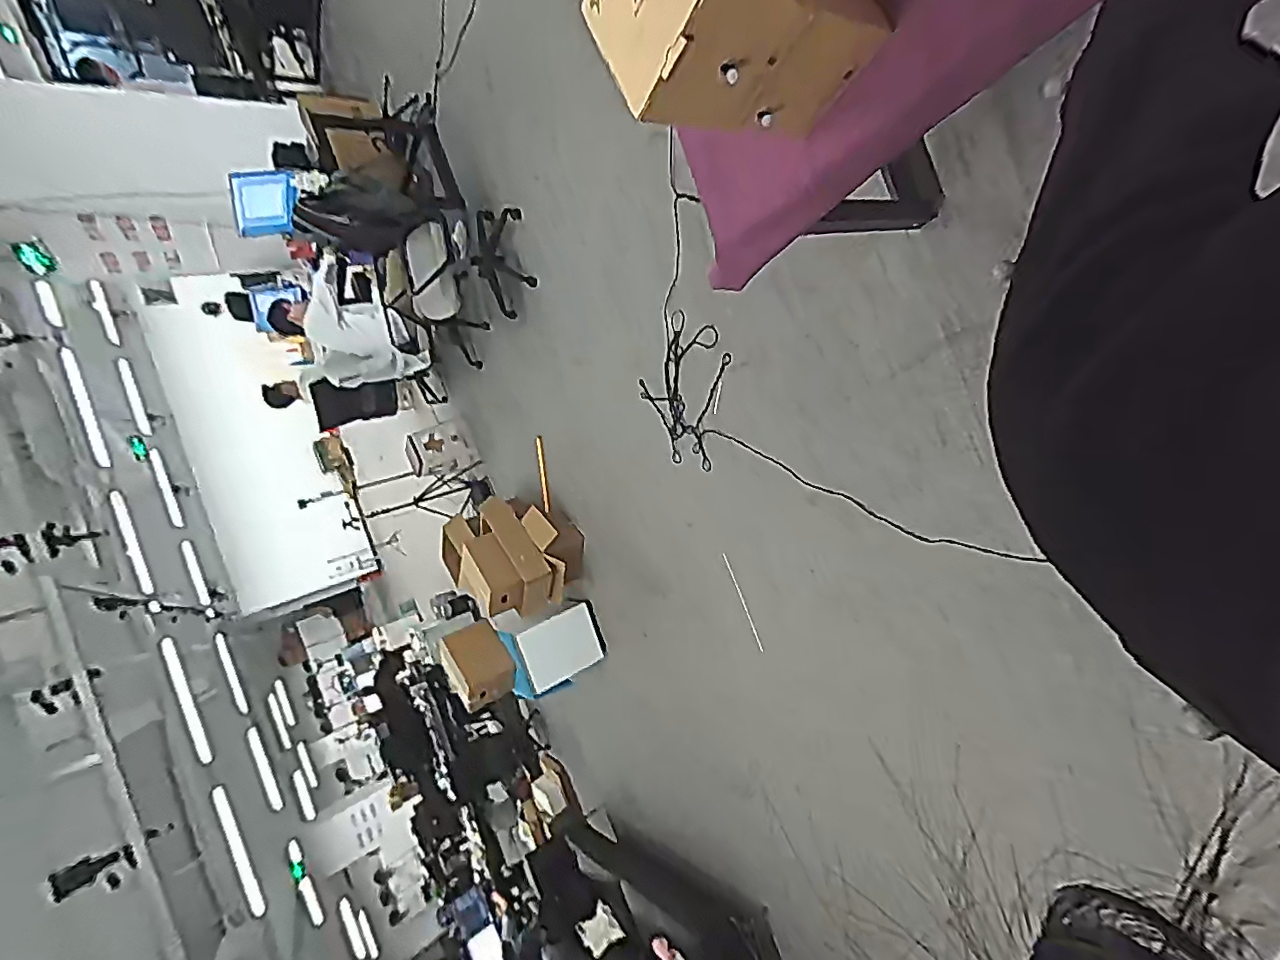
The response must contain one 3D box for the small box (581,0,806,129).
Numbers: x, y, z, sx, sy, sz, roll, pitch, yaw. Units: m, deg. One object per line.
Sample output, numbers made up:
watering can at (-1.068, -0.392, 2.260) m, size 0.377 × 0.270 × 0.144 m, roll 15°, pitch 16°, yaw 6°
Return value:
small box at (0.062, -0.554, 0.641) m, size 0.168 × 0.176 × 0.179 m, roll -35°, pitch 78°, yaw 55°
